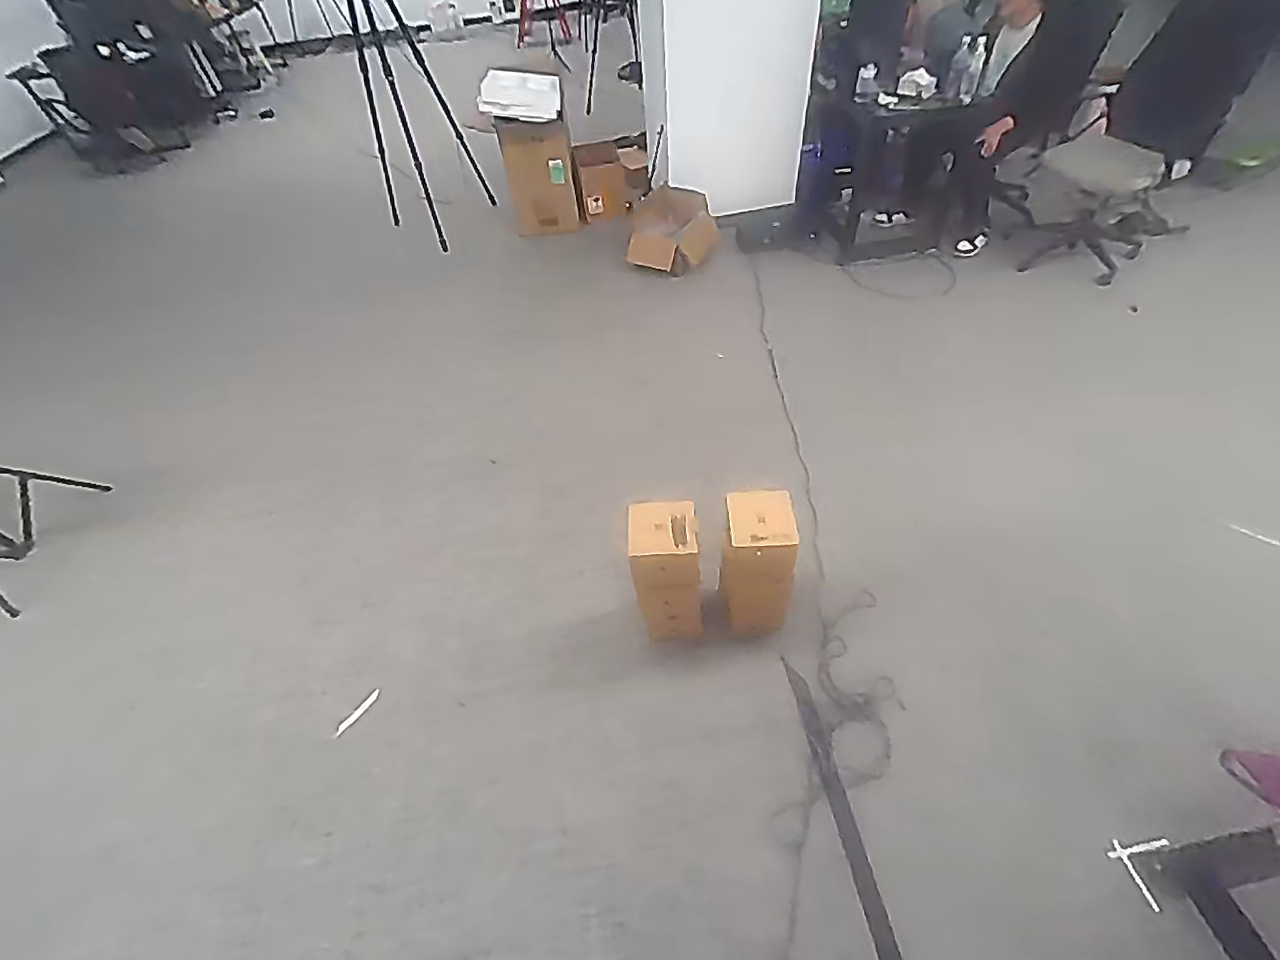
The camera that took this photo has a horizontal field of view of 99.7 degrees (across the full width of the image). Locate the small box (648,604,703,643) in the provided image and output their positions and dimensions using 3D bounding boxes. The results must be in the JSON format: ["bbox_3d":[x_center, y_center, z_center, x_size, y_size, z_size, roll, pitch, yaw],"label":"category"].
[{"bbox_3d":[0.104,0.387,1.687,0.168,0.176,0.179,-6,49,2],"label":"small box"}]

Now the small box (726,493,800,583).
[{"bbox_3d":[0.318,0.154,1.434,0.168,0.176,0.179,-3,48,5],"label":"small box"}]

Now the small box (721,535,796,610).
[{"bbox_3d":[0.335,0.259,1.559,0.179,0.176,0.168,-8,48,0],"label":"small box"}]

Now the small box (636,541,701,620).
[{"bbox_3d":[0.085,0.292,1.554,0.179,0.176,0.168,-4,48,5],"label":"small box"}]

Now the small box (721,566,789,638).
[{"bbox_3d":[0.350,0.365,1.681,0.168,0.176,0.179,-10,49,-1],"label":"small box"}]
